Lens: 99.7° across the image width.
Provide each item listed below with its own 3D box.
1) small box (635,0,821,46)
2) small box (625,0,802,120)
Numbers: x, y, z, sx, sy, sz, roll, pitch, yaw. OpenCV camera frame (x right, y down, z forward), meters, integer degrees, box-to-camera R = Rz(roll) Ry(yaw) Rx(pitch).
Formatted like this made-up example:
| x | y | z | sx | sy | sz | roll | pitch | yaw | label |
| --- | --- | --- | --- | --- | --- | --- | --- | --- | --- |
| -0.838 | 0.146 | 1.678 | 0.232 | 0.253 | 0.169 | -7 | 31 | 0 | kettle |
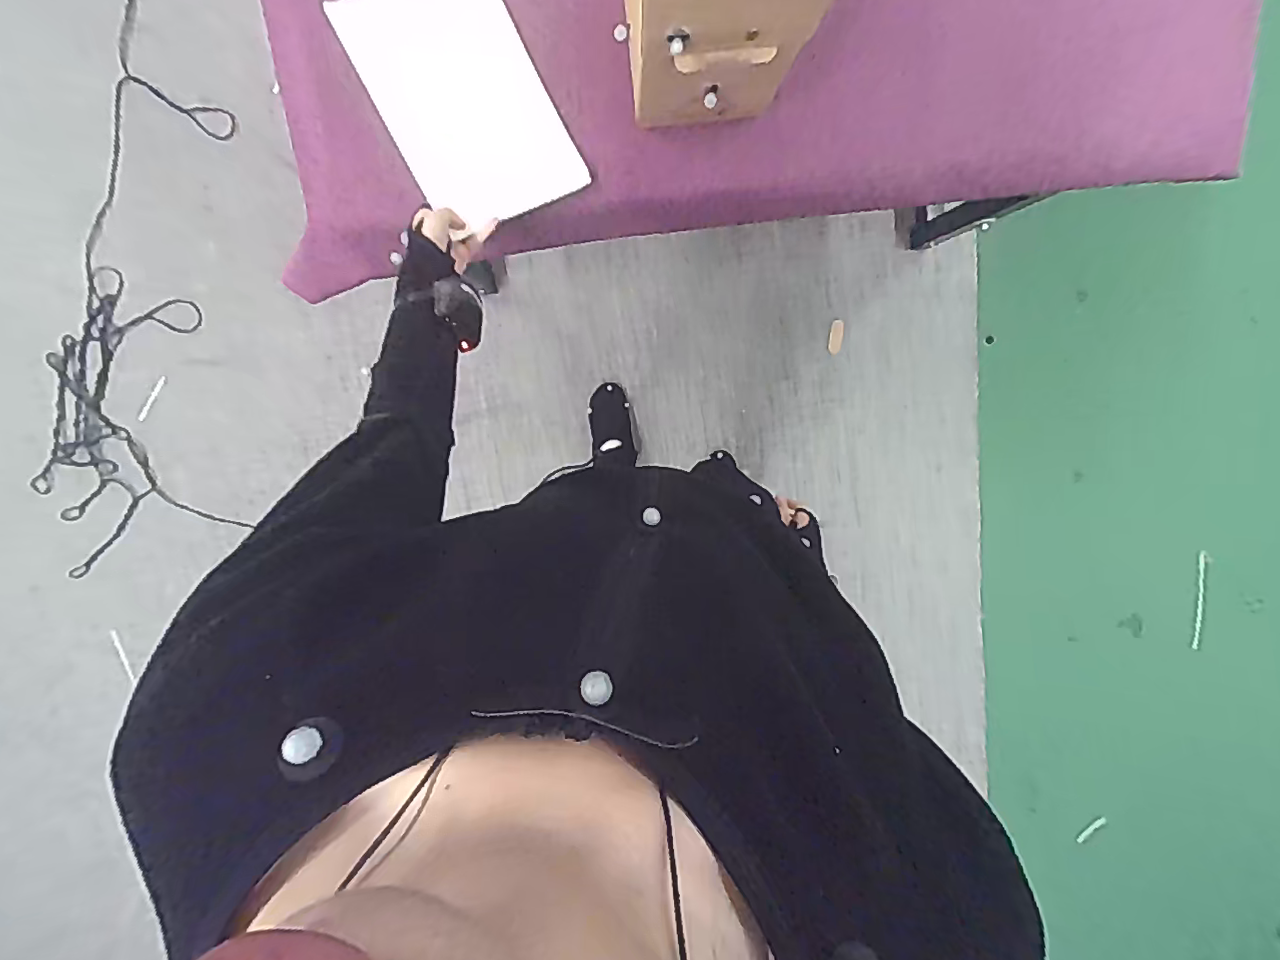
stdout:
| x | y | z | sx | sy | sz | roll | pitch | yaw | label |
| --- | --- | --- | --- | --- | --- | --- | --- | --- | --- |
| 0.075 | -0.486 | 0.431 | 0.168 | 0.176 | 0.179 | -6 | 100 | 0 | small box |
| 0.071 | -0.523 | 0.592 | 0.168 | 0.176 | 0.179 | -6 | 101 | -1 | small box |
